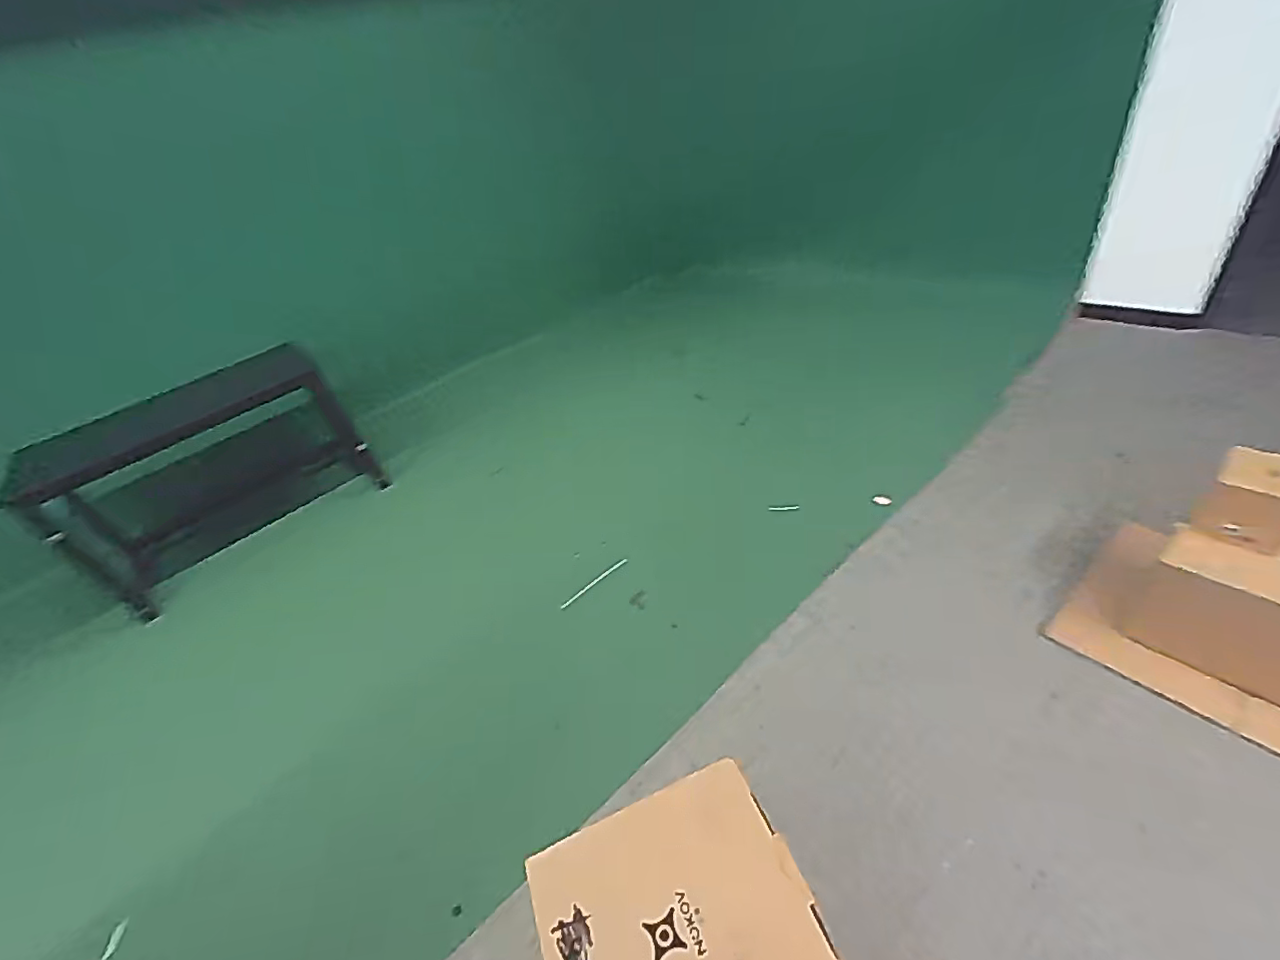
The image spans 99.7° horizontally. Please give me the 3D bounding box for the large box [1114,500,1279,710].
[{"bbox_3d":[1.540,0.317,1.370,0.320,0.320,0.408,-36,43,-26],"label":"large box"}]

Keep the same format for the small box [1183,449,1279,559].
[{"bbox_3d":[1.481,0.057,1.320,0.179,0.176,0.168,-36,42,-27],"label":"small box"}]
